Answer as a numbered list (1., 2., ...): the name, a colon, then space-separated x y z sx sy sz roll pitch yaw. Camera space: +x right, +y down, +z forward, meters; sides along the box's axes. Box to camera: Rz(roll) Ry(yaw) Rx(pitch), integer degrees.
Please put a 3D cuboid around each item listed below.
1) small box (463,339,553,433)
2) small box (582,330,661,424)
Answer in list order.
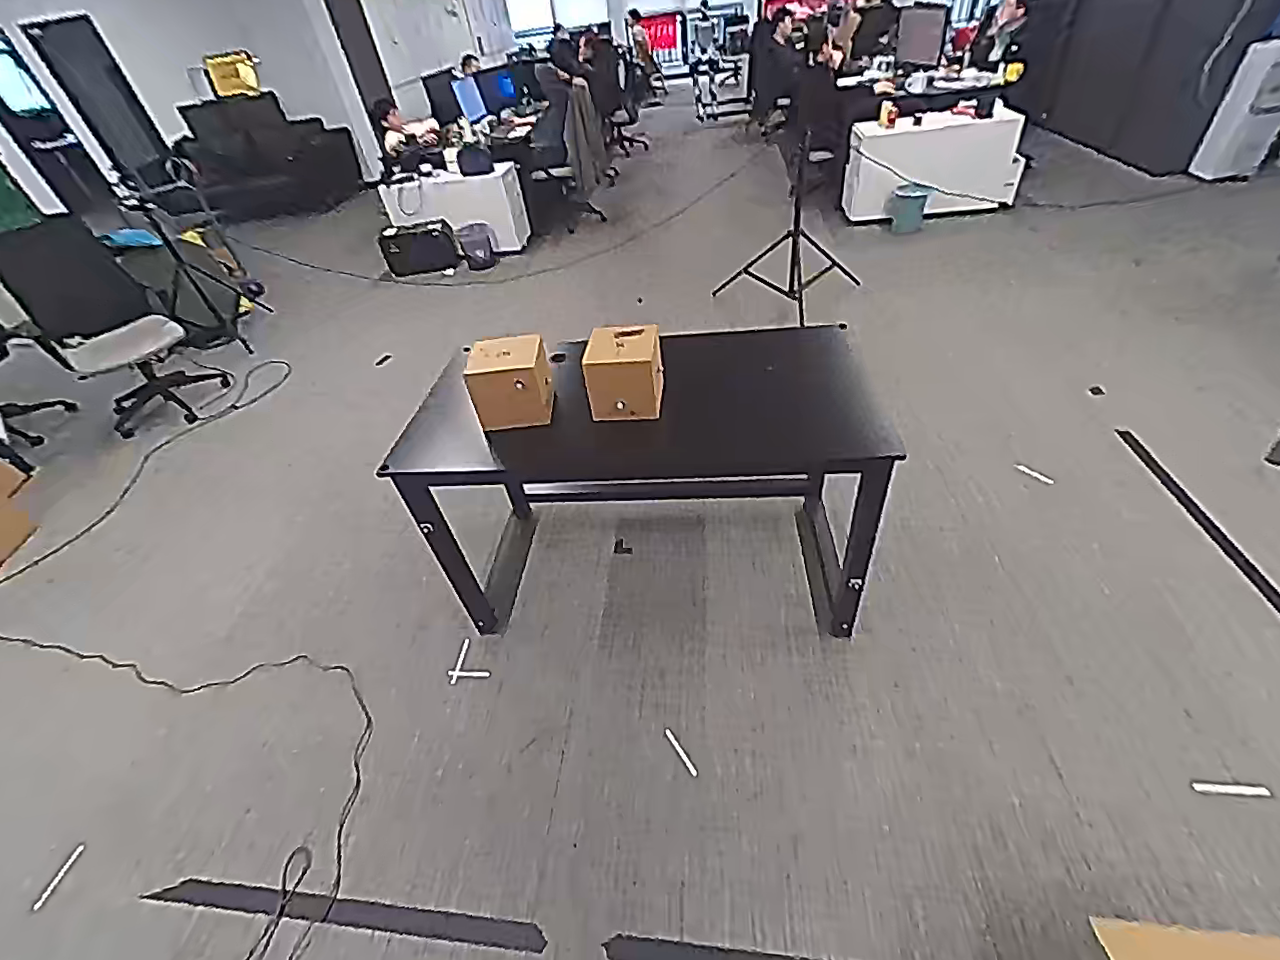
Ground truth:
1. small box: -0.327 -0.239 1.382 0.179 0.176 0.168 -6 41 3
2. small box: -0.039 -0.259 1.356 0.168 0.176 0.179 -1 43 9
